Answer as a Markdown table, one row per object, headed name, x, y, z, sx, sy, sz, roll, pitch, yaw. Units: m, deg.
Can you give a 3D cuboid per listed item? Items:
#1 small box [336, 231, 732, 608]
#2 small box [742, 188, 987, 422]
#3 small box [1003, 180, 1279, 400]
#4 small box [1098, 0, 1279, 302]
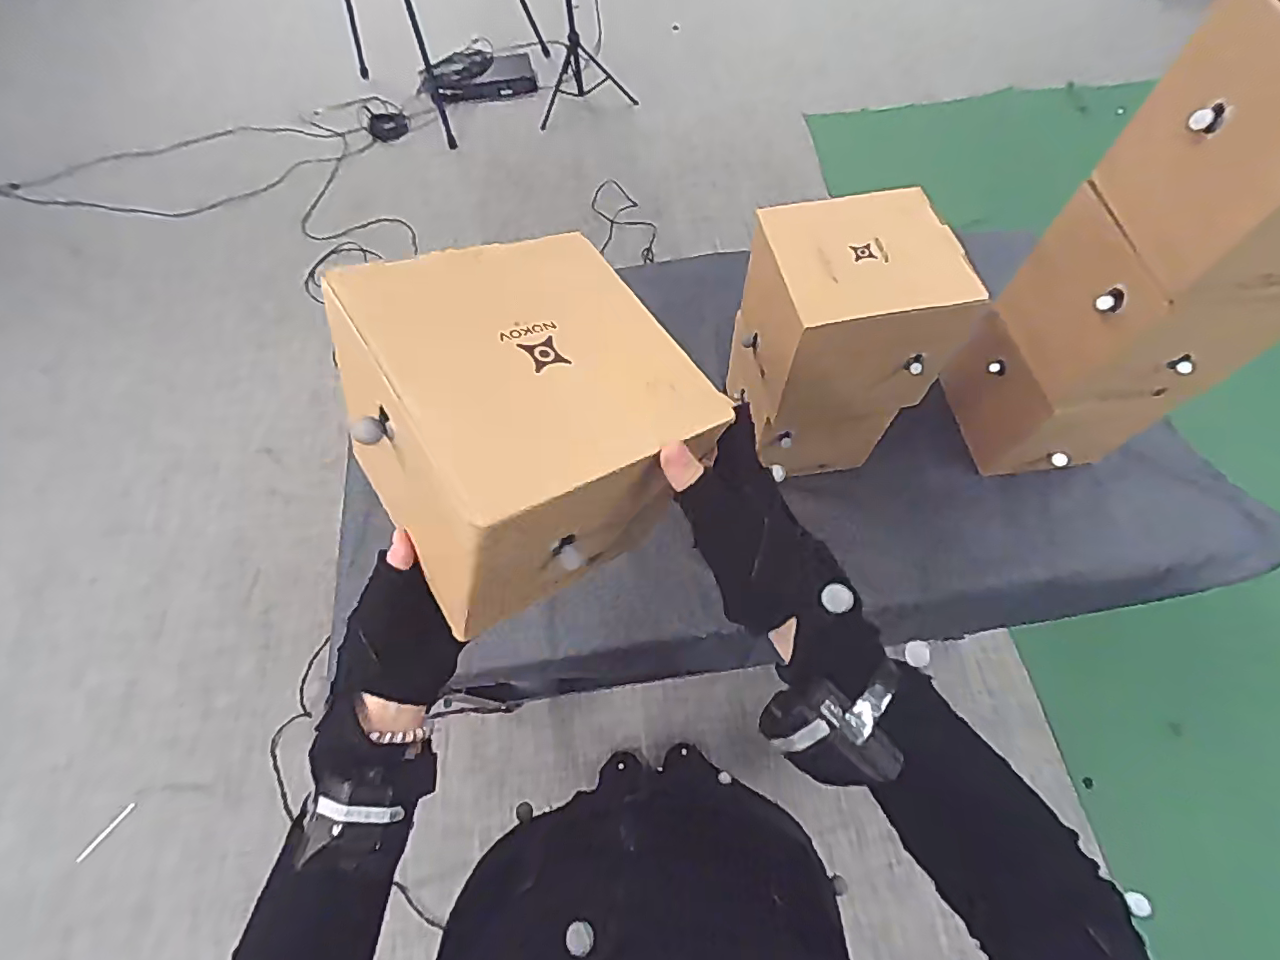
| name | x | y | z | sx | sy | sz | roll | pitch | yaw |
| --- | --- | --- | --- | --- | --- | --- | --- | --- | --- |
| small box | -0.076 | -0.034 | 0.367 | 0.168 | 0.176 | 0.179 | -23 | 67 | -30 |
| small box | 0.224 | -0.184 | 0.596 | 0.179 | 0.176 | 0.168 | -9 | 63 | -2 |
| small box | 0.545 | -0.200 | 0.586 | 0.168 | 0.176 | 0.179 | -5 | 63 | 0 |
| small box | 0.535 | -0.271 | 0.438 | 0.168 | 0.176 | 0.179 | -4 | 63 | 2 |
